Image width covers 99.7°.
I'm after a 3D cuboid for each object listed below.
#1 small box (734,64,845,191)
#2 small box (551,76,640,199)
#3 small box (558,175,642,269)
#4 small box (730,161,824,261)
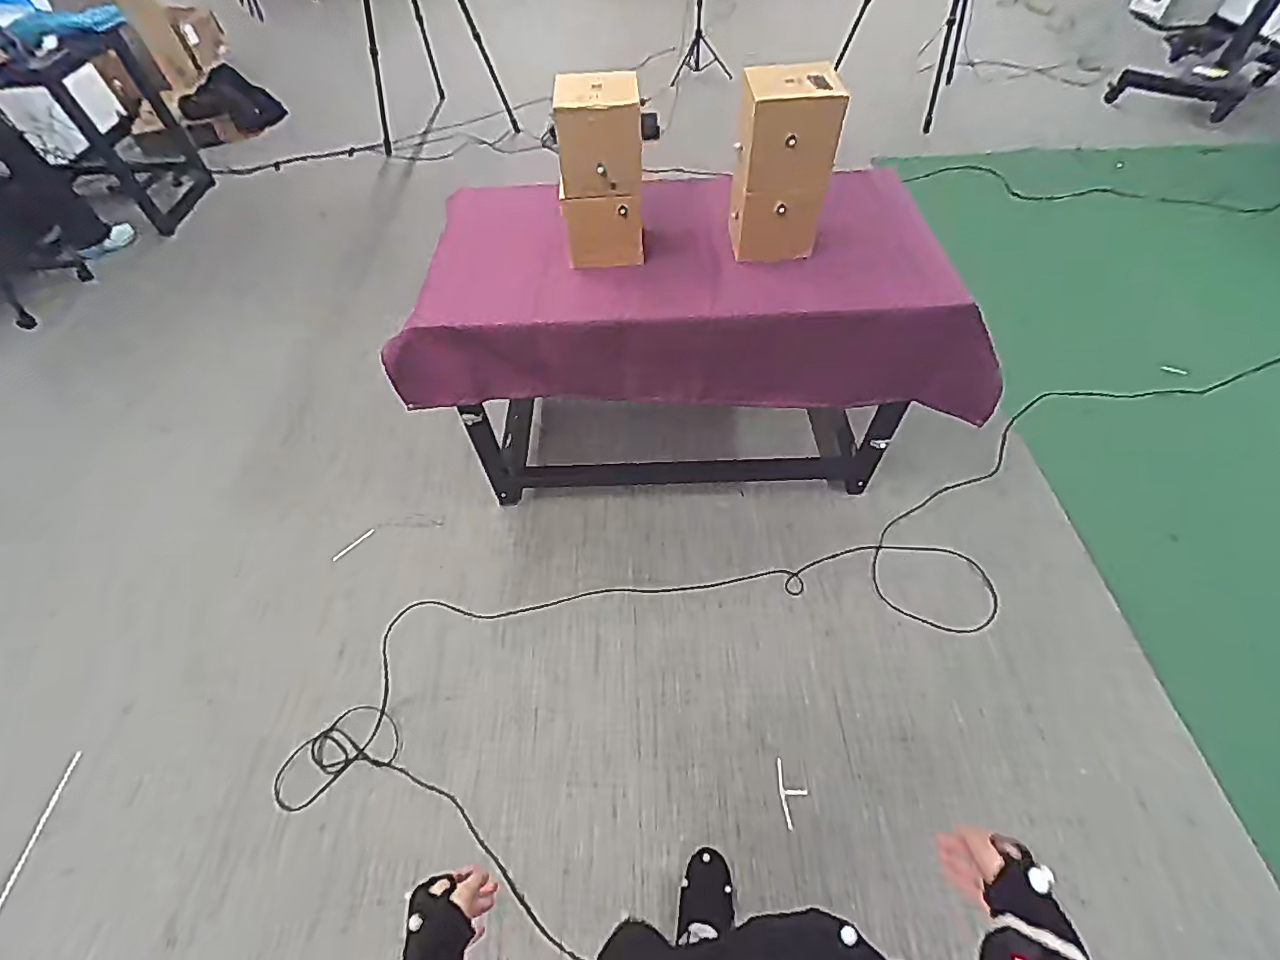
[{"bbox_3d":[0.296,-0.719,1.110,0.179,0.176,0.168,-3,54,2],"label":"small box"},{"bbox_3d":[-0.087,-0.710,1.124,0.168,0.176,0.179,-4,54,0],"label":"small box"},{"bbox_3d":[-0.088,-0.609,1.255,0.179,0.176,0.168,-3,54,0],"label":"small box"},{"bbox_3d":[0.303,-0.622,1.242,0.179,0.176,0.168,-2,55,1],"label":"small box"}]
